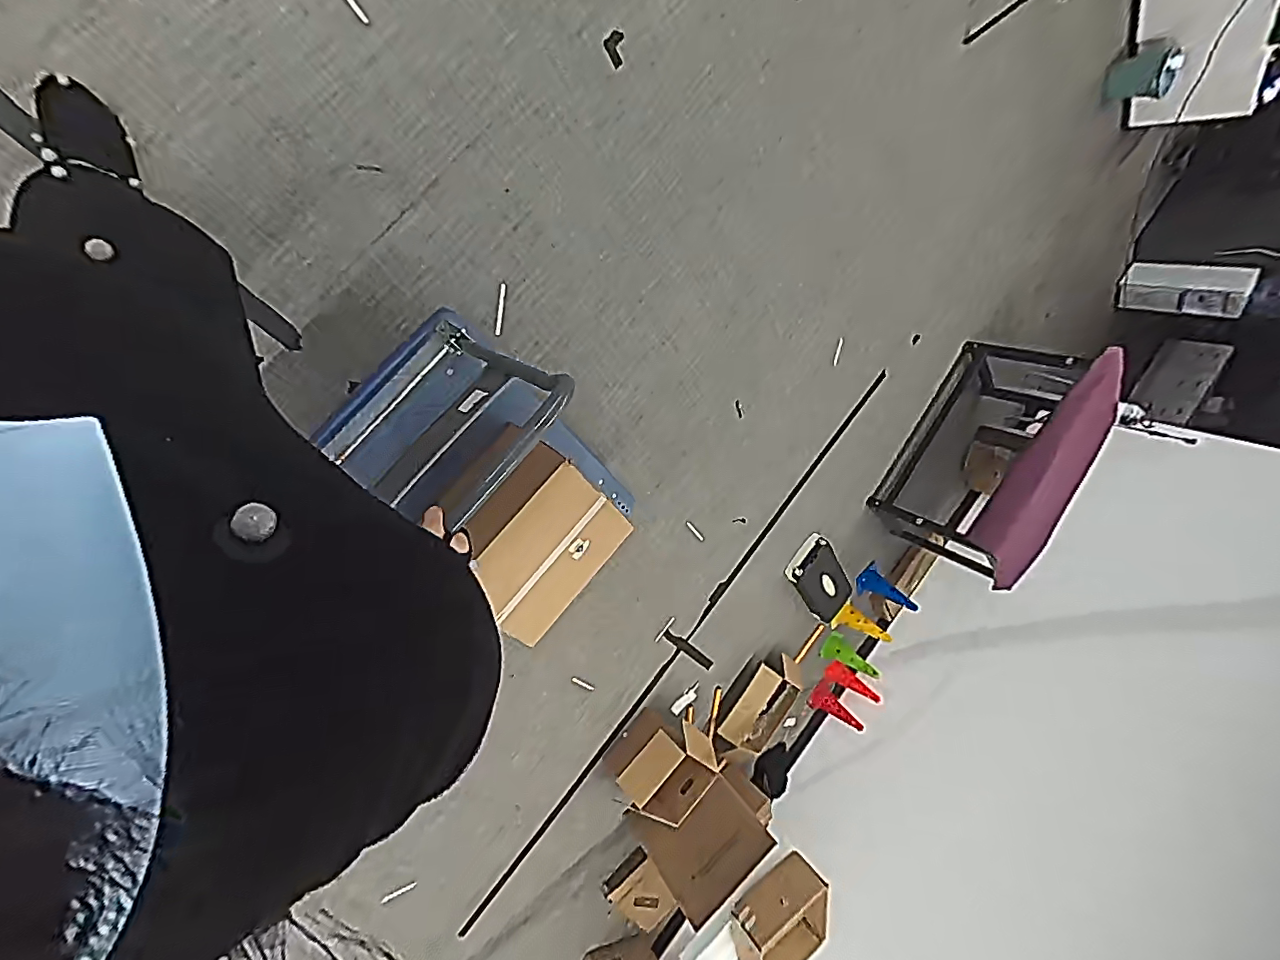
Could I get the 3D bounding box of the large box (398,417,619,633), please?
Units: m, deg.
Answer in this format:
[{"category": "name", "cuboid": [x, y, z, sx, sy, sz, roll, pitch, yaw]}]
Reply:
[{"category": "large box", "cuboid": [-0.342, 0.107, 1.407, 0.408, 0.320, 0.320, -50, 133, -10]}]
